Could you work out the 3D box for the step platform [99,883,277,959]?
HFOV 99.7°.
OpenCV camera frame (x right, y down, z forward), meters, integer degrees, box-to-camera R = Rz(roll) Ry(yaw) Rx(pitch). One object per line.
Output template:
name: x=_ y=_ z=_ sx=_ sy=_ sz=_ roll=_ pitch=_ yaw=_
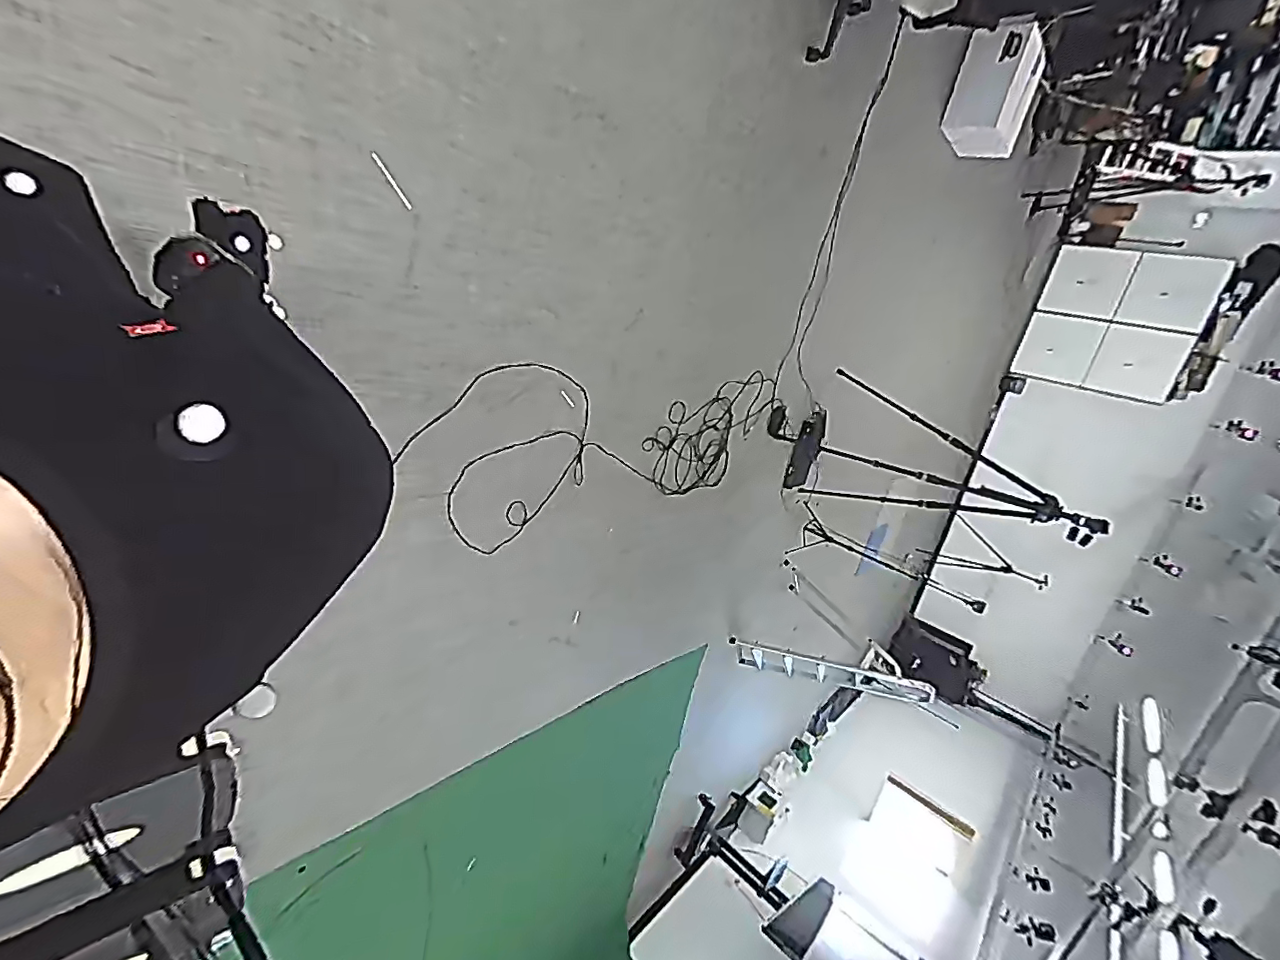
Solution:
step platform: x=-1.279 y=1.307 z=1.272 sx=0.684 sy=0.204 sz=0.286 roll=-8 pitch=117 yaw=-50
